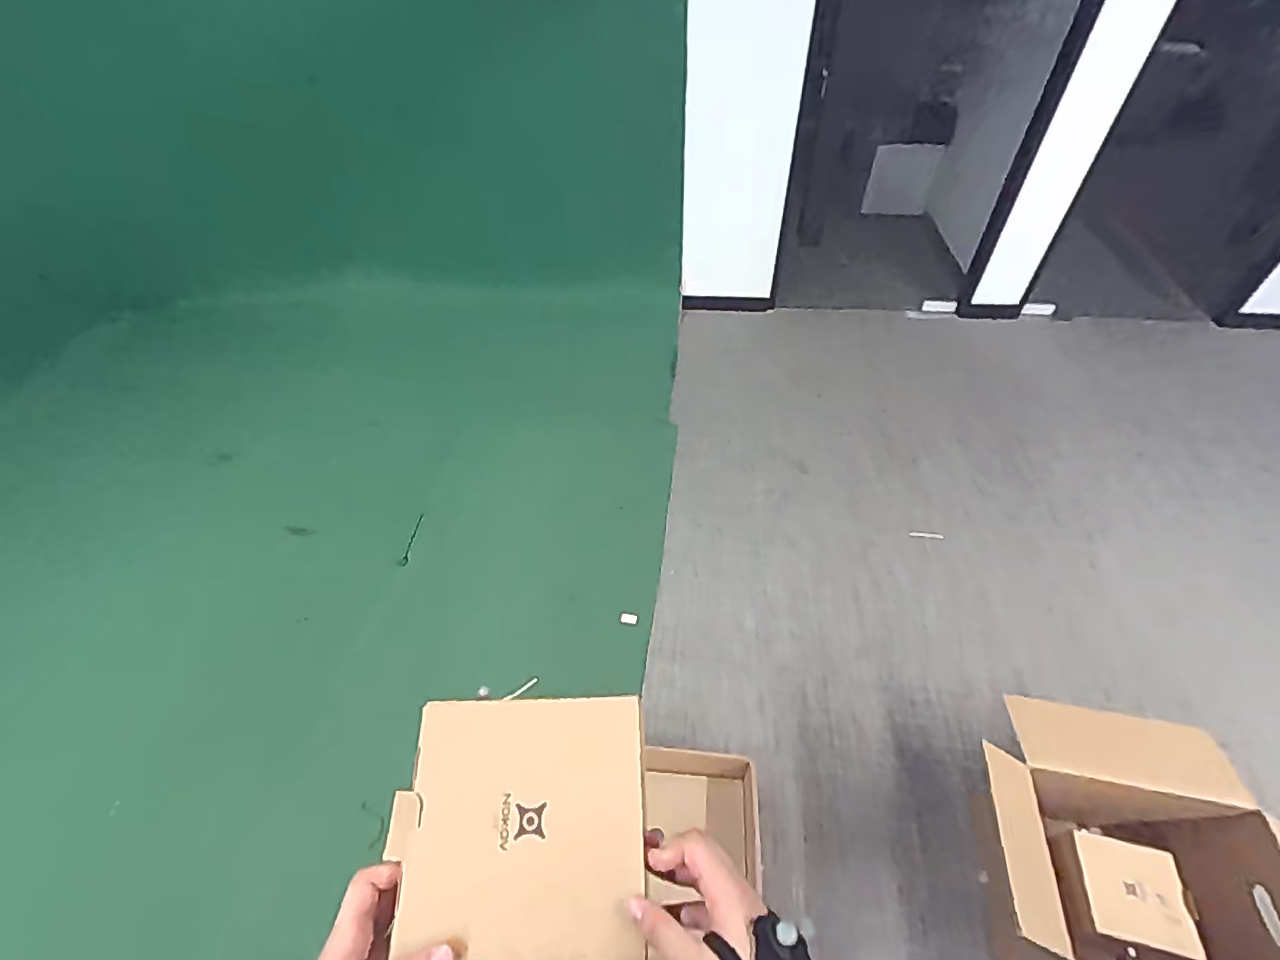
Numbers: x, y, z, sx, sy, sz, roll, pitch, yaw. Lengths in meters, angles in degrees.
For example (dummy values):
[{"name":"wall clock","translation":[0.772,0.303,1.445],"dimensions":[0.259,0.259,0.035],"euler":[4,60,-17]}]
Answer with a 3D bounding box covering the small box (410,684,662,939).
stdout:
[{"name":"small box","translation":[-0.074,0.277,0.479],"dimensions":[0.179,0.176,0.168],"euler":[-2,62,1]}]
